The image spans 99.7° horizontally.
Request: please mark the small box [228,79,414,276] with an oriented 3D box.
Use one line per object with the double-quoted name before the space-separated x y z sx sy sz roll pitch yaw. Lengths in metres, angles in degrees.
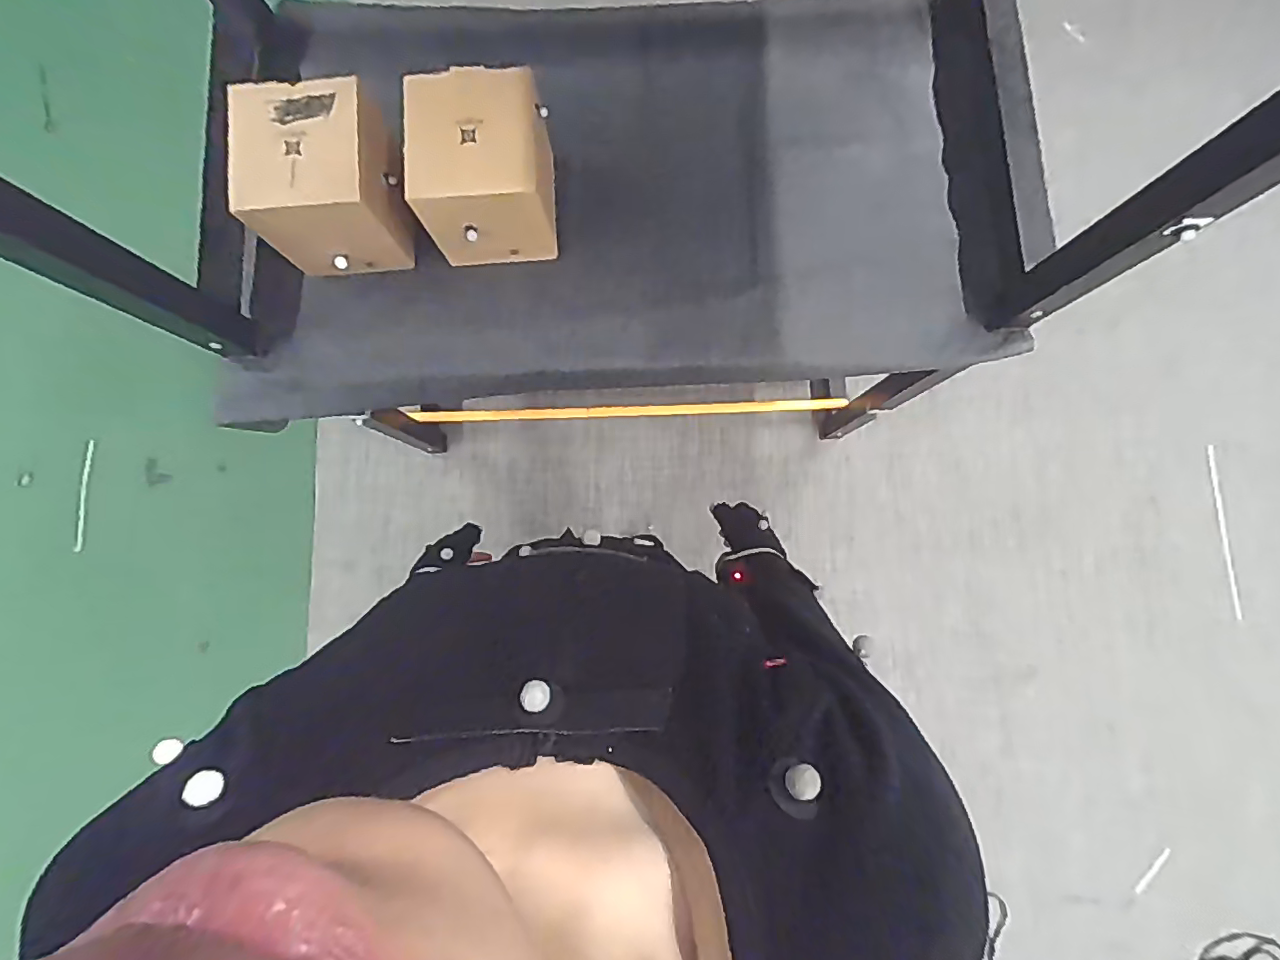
"small box" -0.431 -0.412 0.757 0.168 0.176 0.179 -4 83 0
